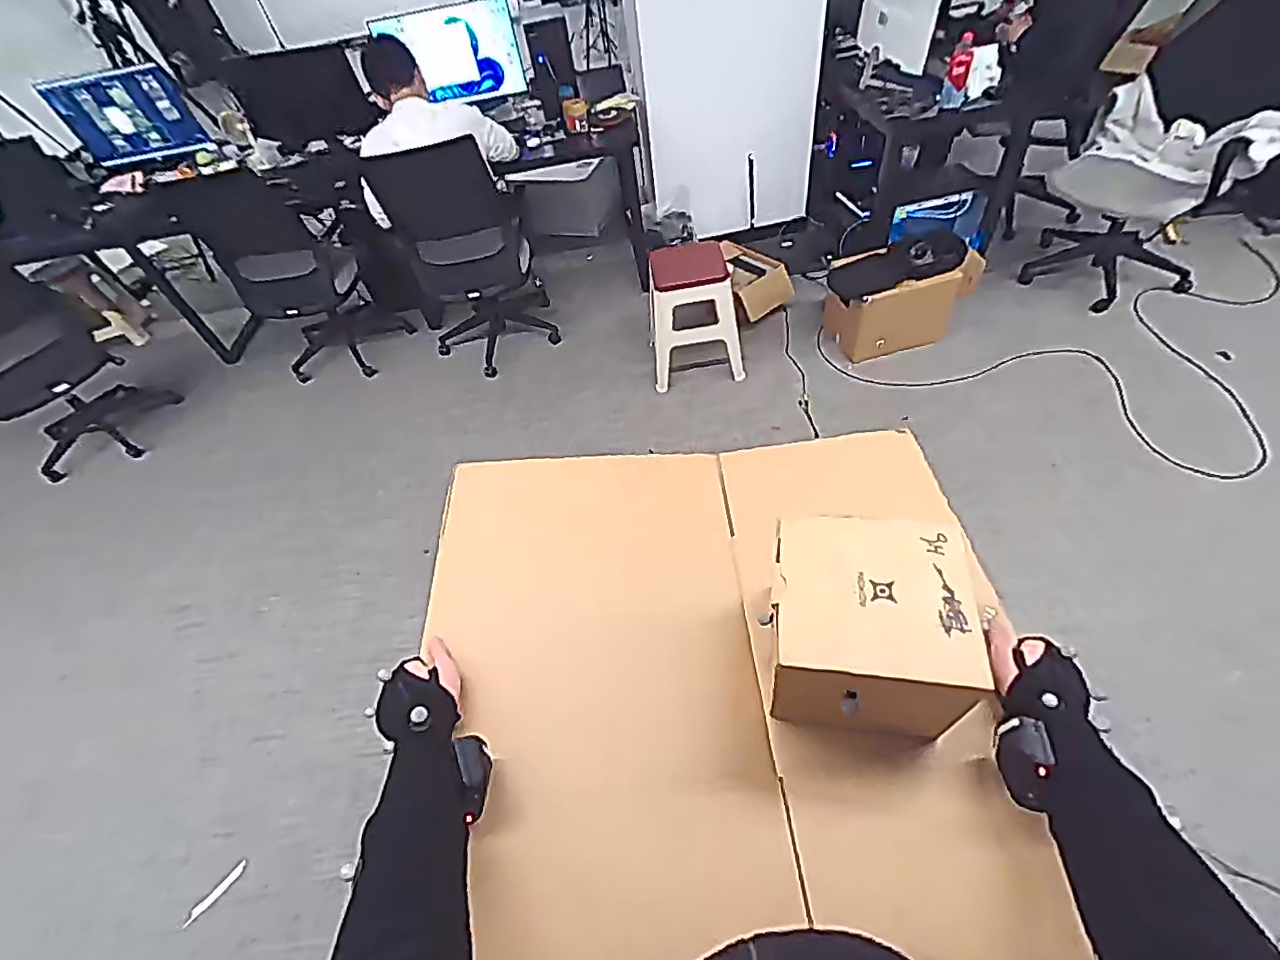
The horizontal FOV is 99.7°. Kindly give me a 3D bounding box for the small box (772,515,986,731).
[{"bbox_3d":[0.233,0.154,0.578,0.179,0.176,0.168,2,53,14],"label":"small box"}]
